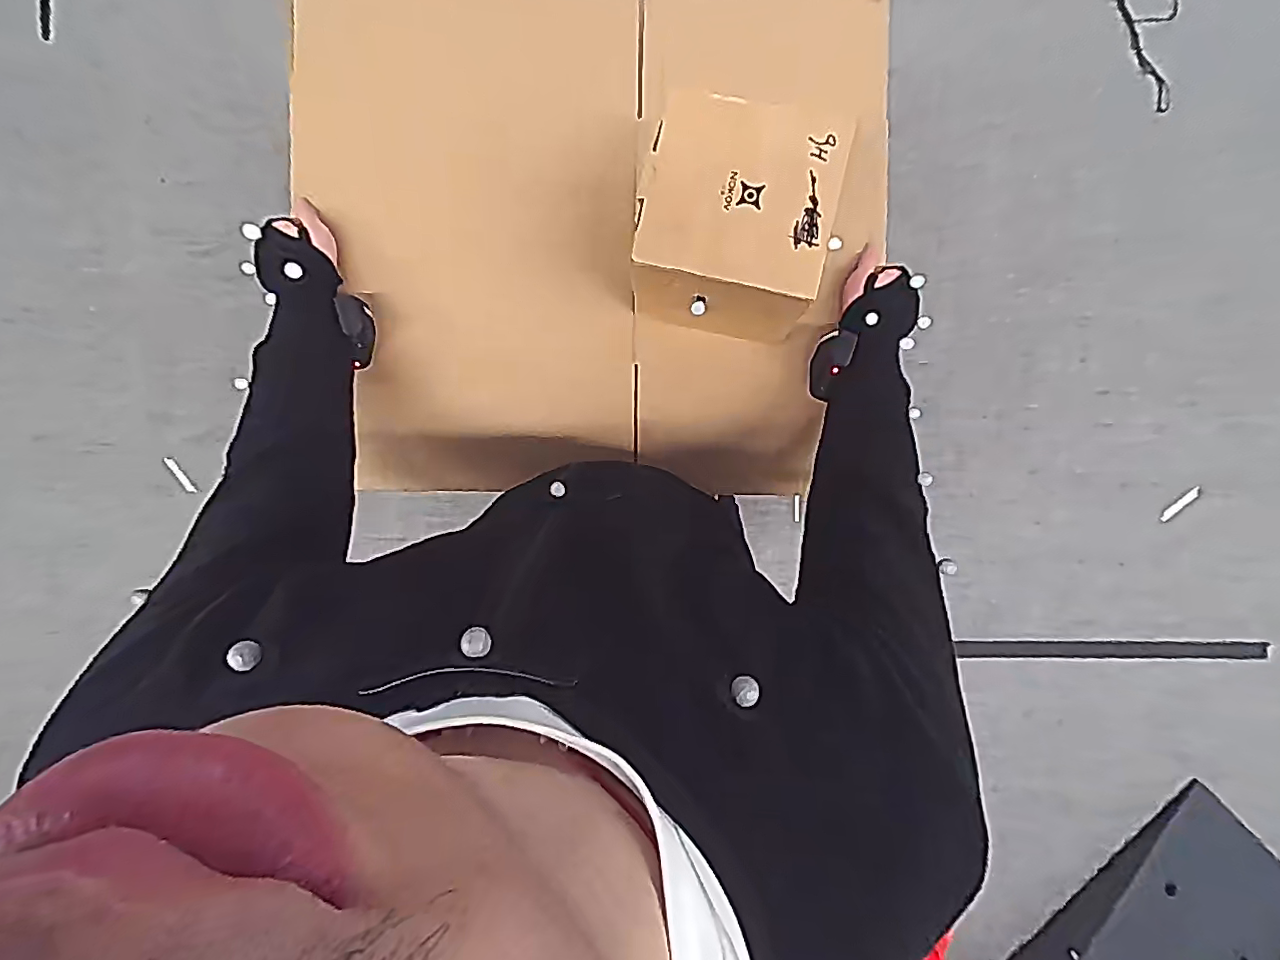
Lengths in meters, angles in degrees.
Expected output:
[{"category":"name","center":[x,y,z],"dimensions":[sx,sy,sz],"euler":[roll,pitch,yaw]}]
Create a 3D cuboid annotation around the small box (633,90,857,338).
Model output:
[{"category":"small box","center":[0.101,-0.264,0.577],"dimensions":[0.179,0.176,0.168],"euler":[13,91,4]}]
